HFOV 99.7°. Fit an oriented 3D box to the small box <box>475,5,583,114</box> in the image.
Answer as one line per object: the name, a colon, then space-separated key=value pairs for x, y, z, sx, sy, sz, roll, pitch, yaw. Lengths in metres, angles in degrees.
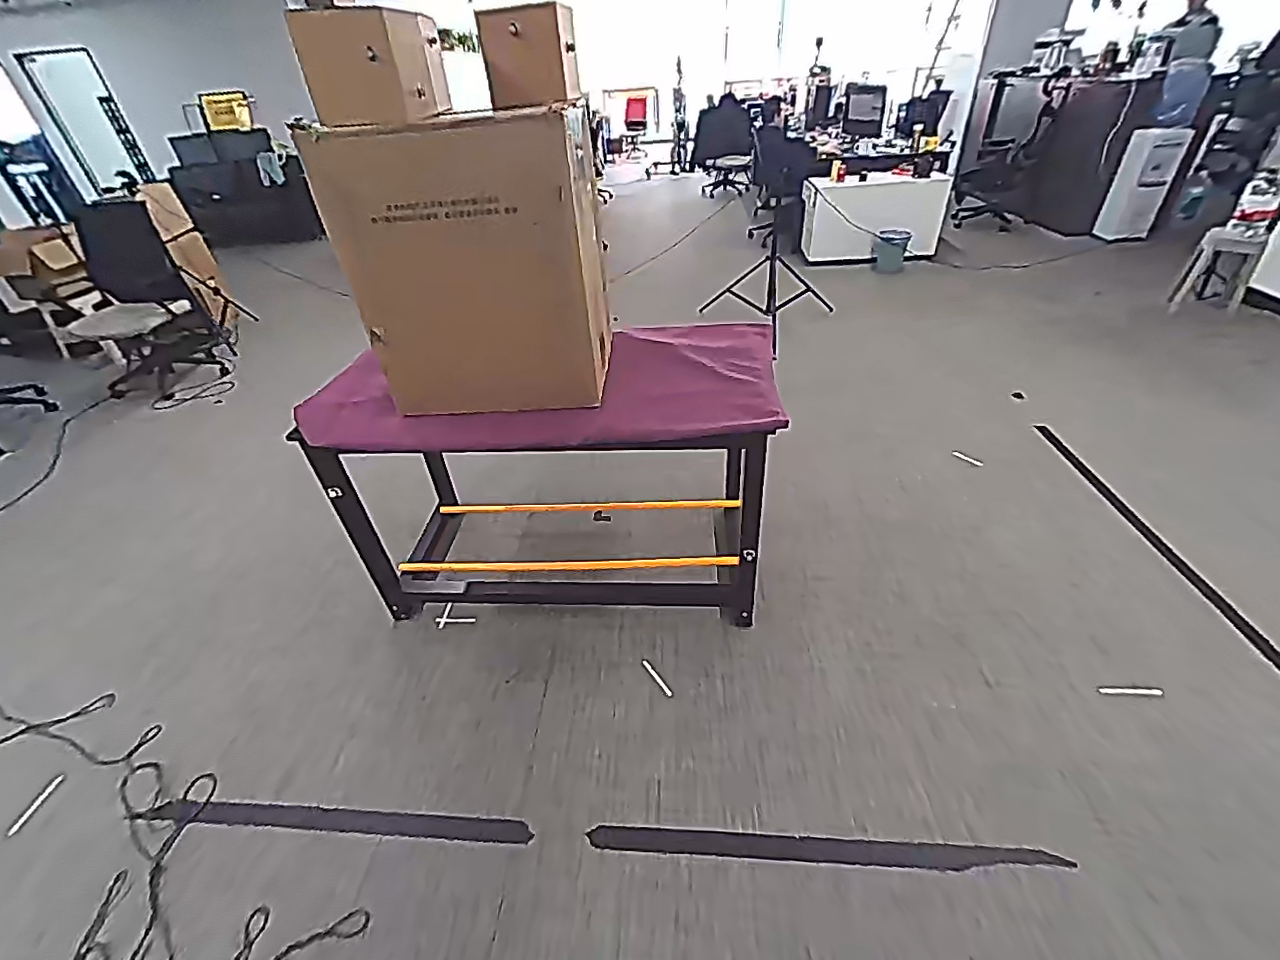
small box: x=-0.231 y=-0.917 z=1.185 sx=0.179 sy=0.176 sz=0.168 roll=0 pitch=37 yaw=9
